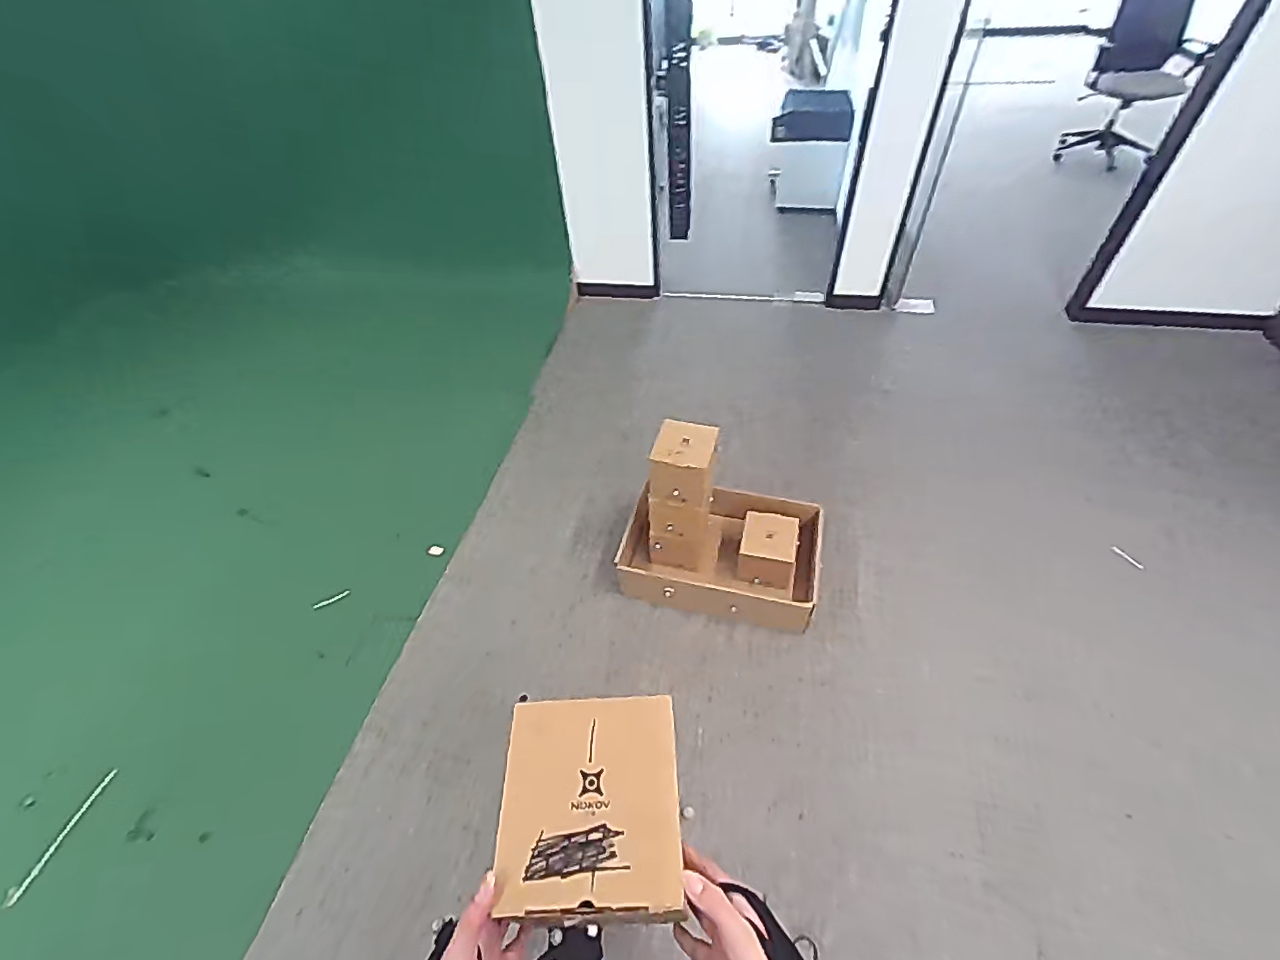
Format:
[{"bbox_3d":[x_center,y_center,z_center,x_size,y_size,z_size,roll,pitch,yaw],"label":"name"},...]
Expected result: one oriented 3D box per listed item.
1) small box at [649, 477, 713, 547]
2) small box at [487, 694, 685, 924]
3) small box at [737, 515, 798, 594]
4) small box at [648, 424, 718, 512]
[{"bbox_3d":[0.127,0.081,1.699,0.168,0.176,0.179,10,48,13],"label":"small box"},{"bbox_3d":[-0.041,0.342,0.558,0.168,0.176,0.179,-3,46,2],"label":"small box"},{"bbox_3d":[0.409,0.241,1.749,0.168,0.176,0.179,9,49,14],"label":"small box"},{"bbox_3d":[0.125,-0.035,1.582,0.168,0.176,0.179,11,48,13],"label":"small box"}]
